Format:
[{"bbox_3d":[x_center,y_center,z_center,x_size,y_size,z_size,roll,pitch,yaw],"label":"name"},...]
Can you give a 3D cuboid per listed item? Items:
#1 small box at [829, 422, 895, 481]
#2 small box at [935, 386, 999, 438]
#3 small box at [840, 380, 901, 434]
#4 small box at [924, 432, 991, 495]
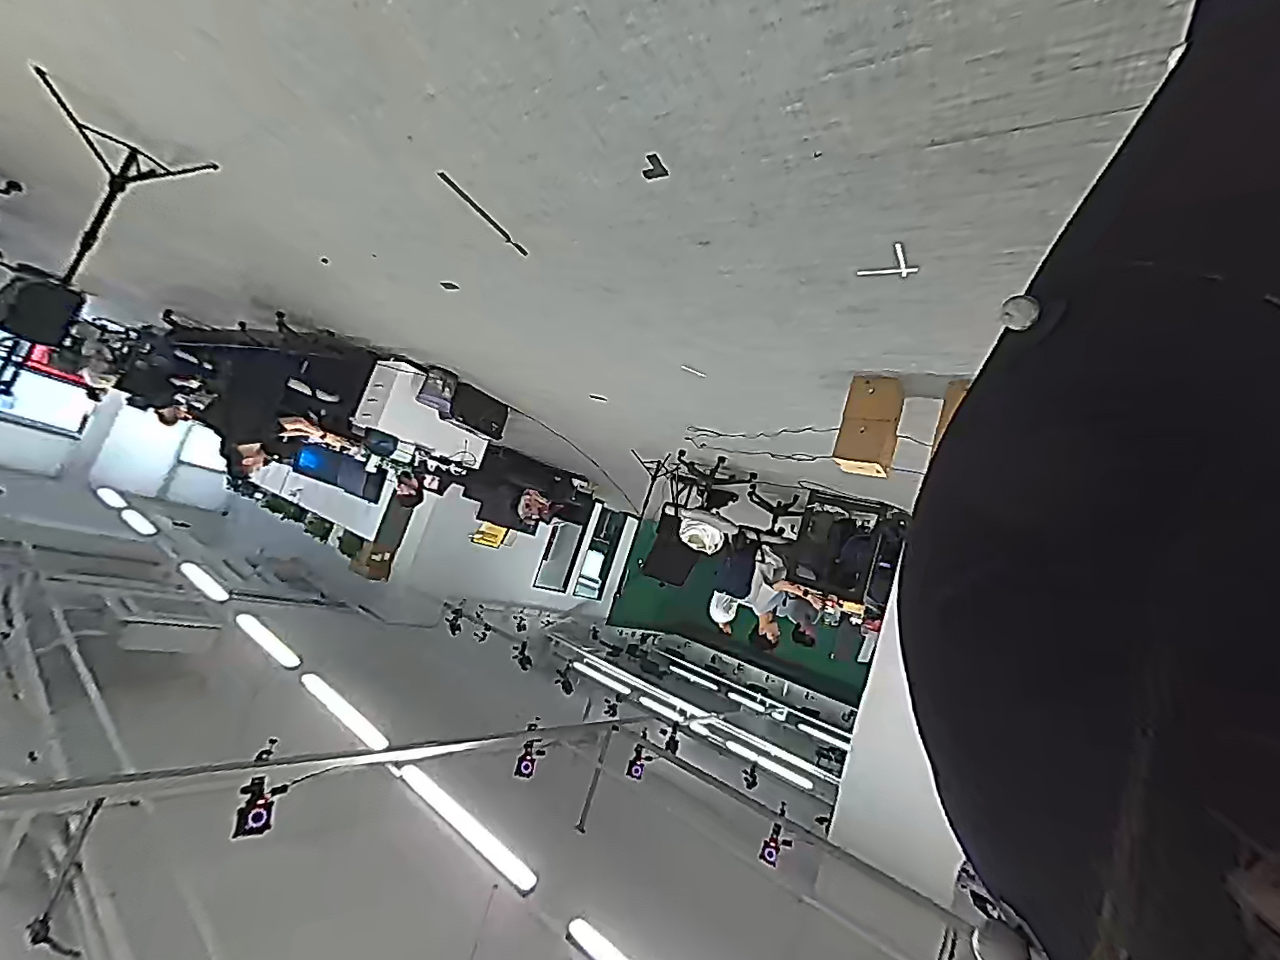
[{"bbox_3d":[0.853,-0.114,2.069,0.179,0.176,0.168,13,171,38],"label":"small box"},{"bbox_3d":[1.153,-0.214,1.907,0.168,0.176,0.179,12,169,33],"label":"small box"},{"bbox_3d":[0.899,-0.270,2.094,0.168,0.176,0.179,12,170,37],"label":"small box"},{"bbox_3d":[1.109,-0.060,1.879,0.179,0.176,0.168,12,170,37],"label":"small box"}]
